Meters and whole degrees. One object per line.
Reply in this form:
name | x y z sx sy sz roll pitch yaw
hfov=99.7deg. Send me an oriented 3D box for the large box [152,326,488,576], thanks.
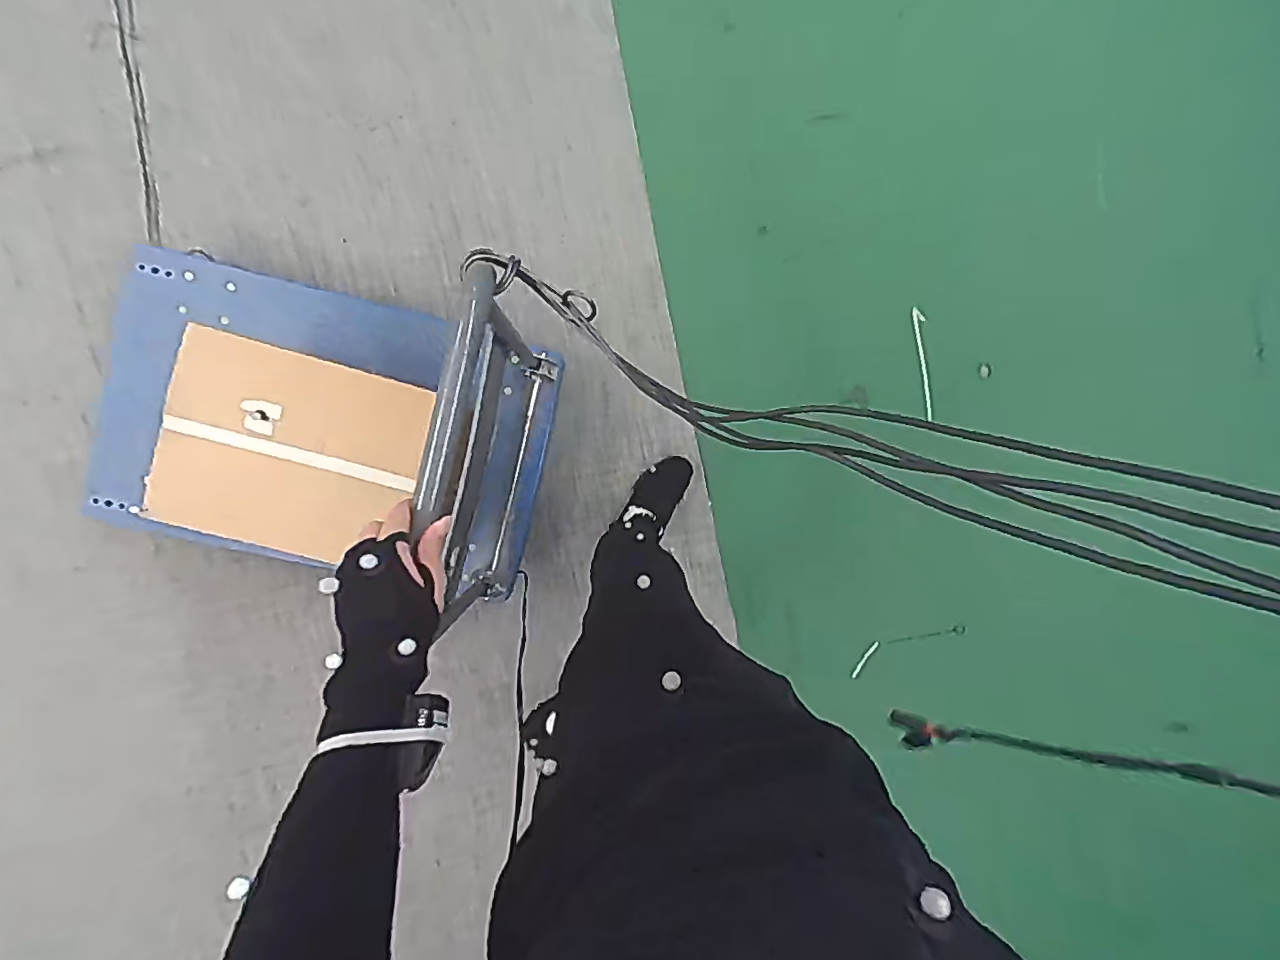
large box | -0.533 -0.050 0.989 0.408 0.320 0.320 15 92 -6
